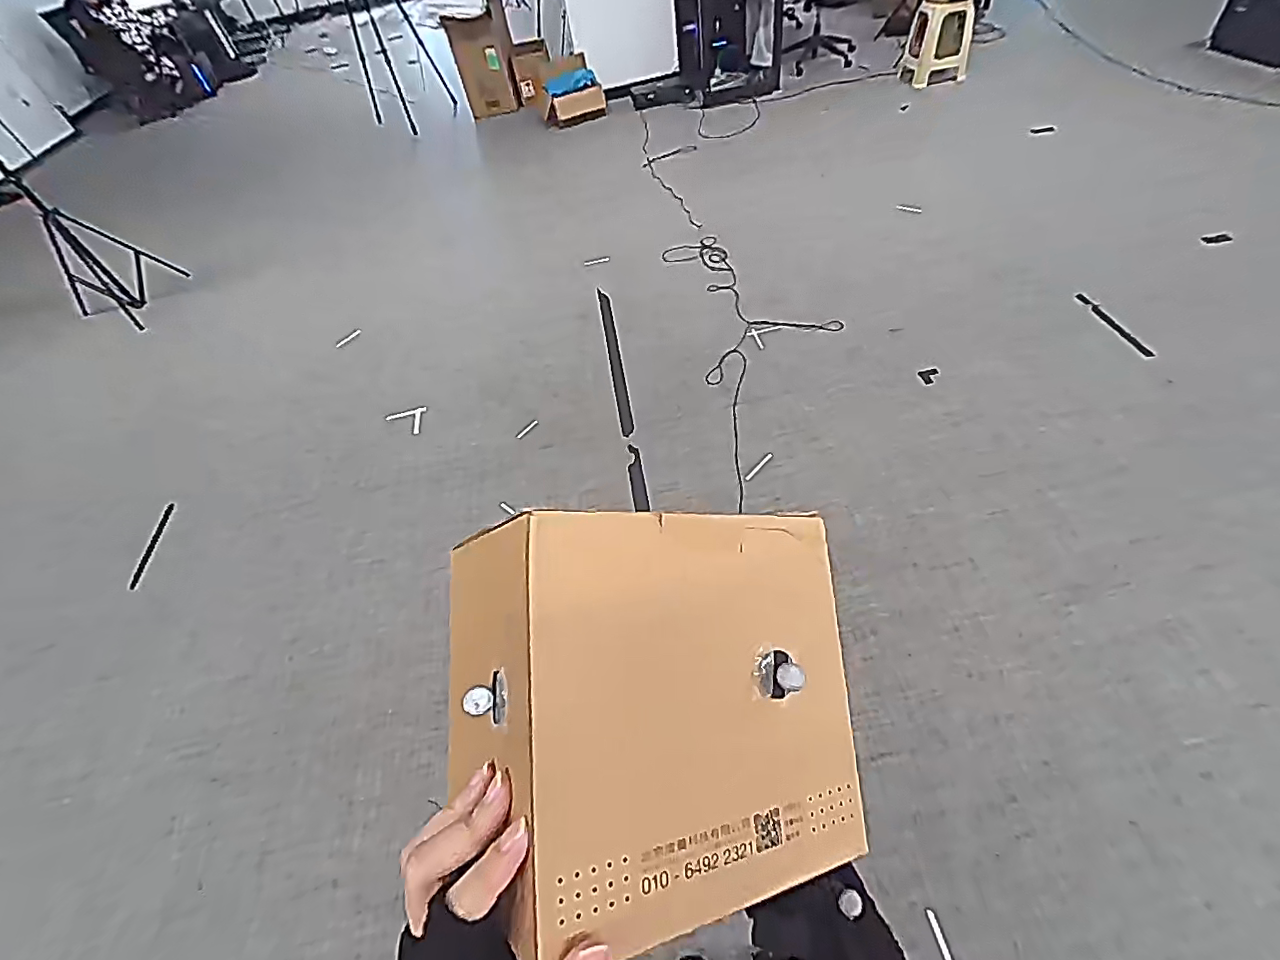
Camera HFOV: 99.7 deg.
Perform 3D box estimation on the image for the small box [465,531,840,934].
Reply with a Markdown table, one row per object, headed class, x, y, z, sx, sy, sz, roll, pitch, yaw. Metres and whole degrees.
| class | x | y | z | sx | sy | sz | roll | pitch | yaw |
| --- | --- | --- | --- | --- | --- | --- | --- | --- | --- |
| small box | -0.006 | 0.125 | 0.324 | 0.168 | 0.179 | 0.176 | 3 | 77 | -28 |
